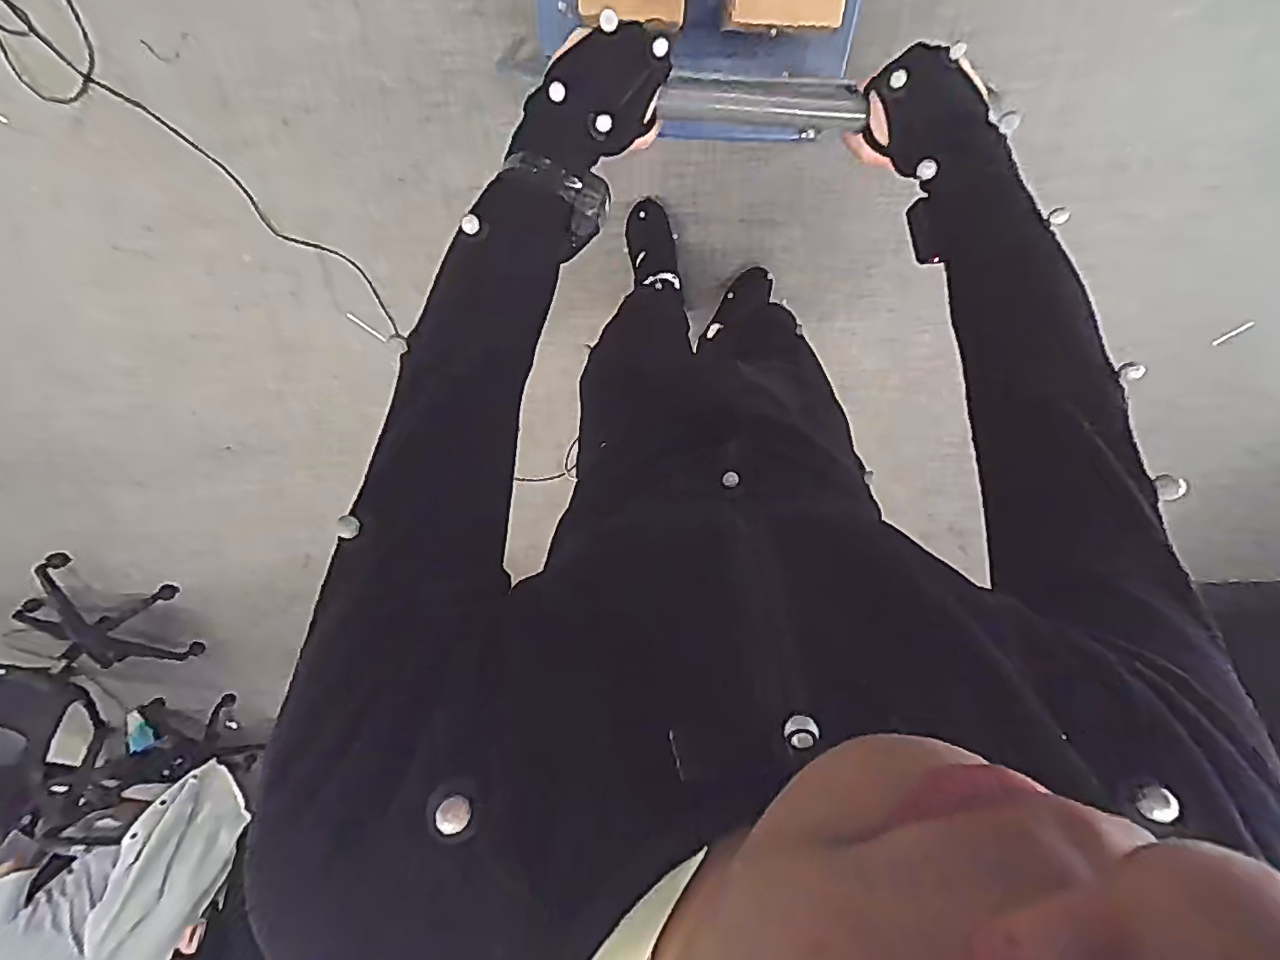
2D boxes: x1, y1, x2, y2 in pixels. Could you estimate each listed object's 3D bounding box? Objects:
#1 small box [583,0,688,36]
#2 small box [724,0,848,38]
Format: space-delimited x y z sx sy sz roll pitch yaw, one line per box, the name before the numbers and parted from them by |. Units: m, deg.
small box | -0.005 -0.839 0.868 0.168 0.176 0.179 3 127 -3
small box | 0.237 -0.829 0.874 0.179 0.176 0.168 1 126 -2
